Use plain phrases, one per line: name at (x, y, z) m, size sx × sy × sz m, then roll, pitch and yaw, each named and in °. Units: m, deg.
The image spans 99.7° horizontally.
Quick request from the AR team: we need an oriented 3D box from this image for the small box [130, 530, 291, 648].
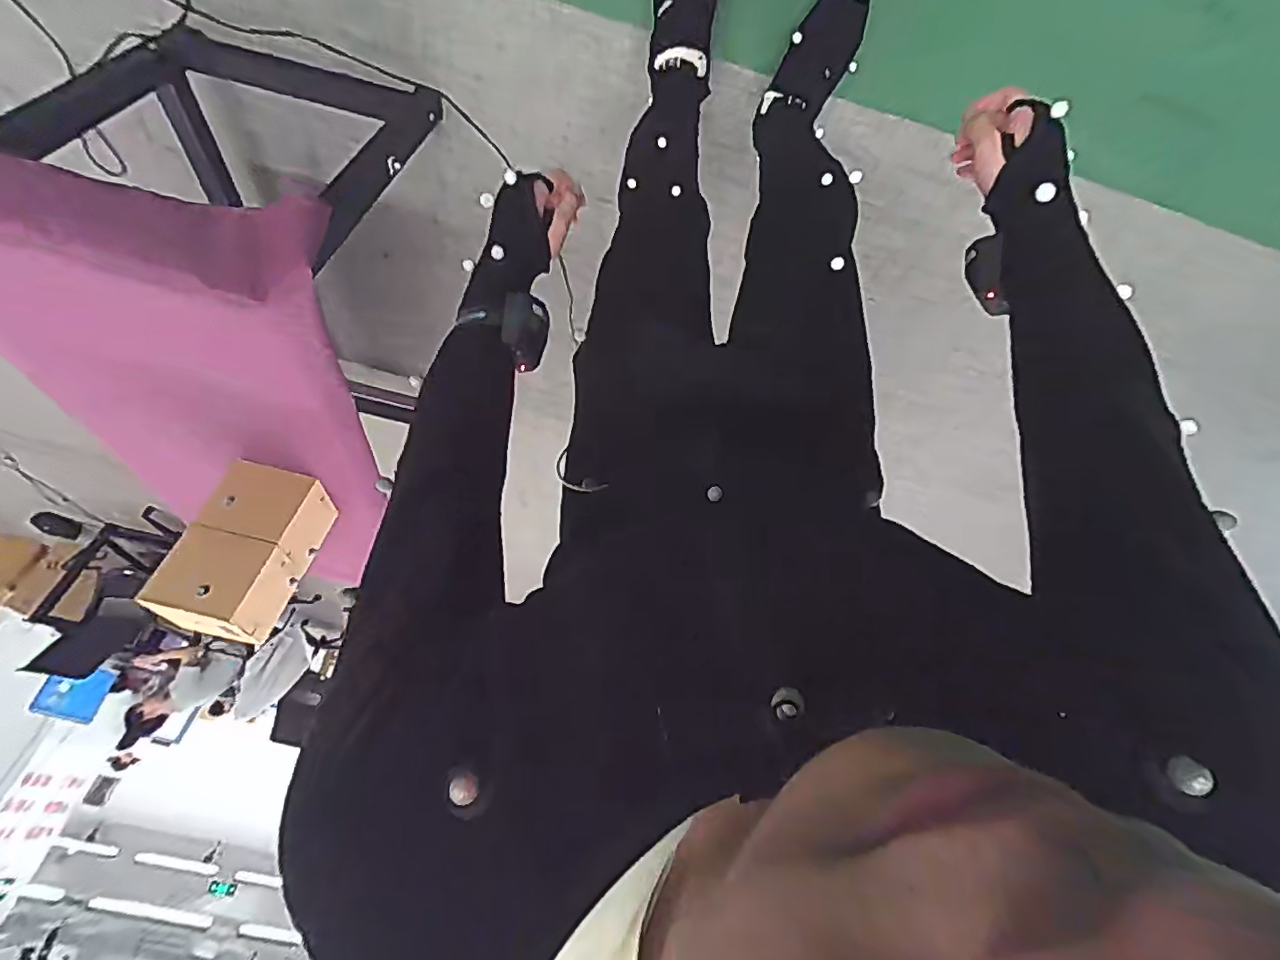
small box at (-0.848, 0.221, 1.099) m, size 0.179 × 0.176 × 0.168 m, roll 15°, pitch 146°, yaw -3°
